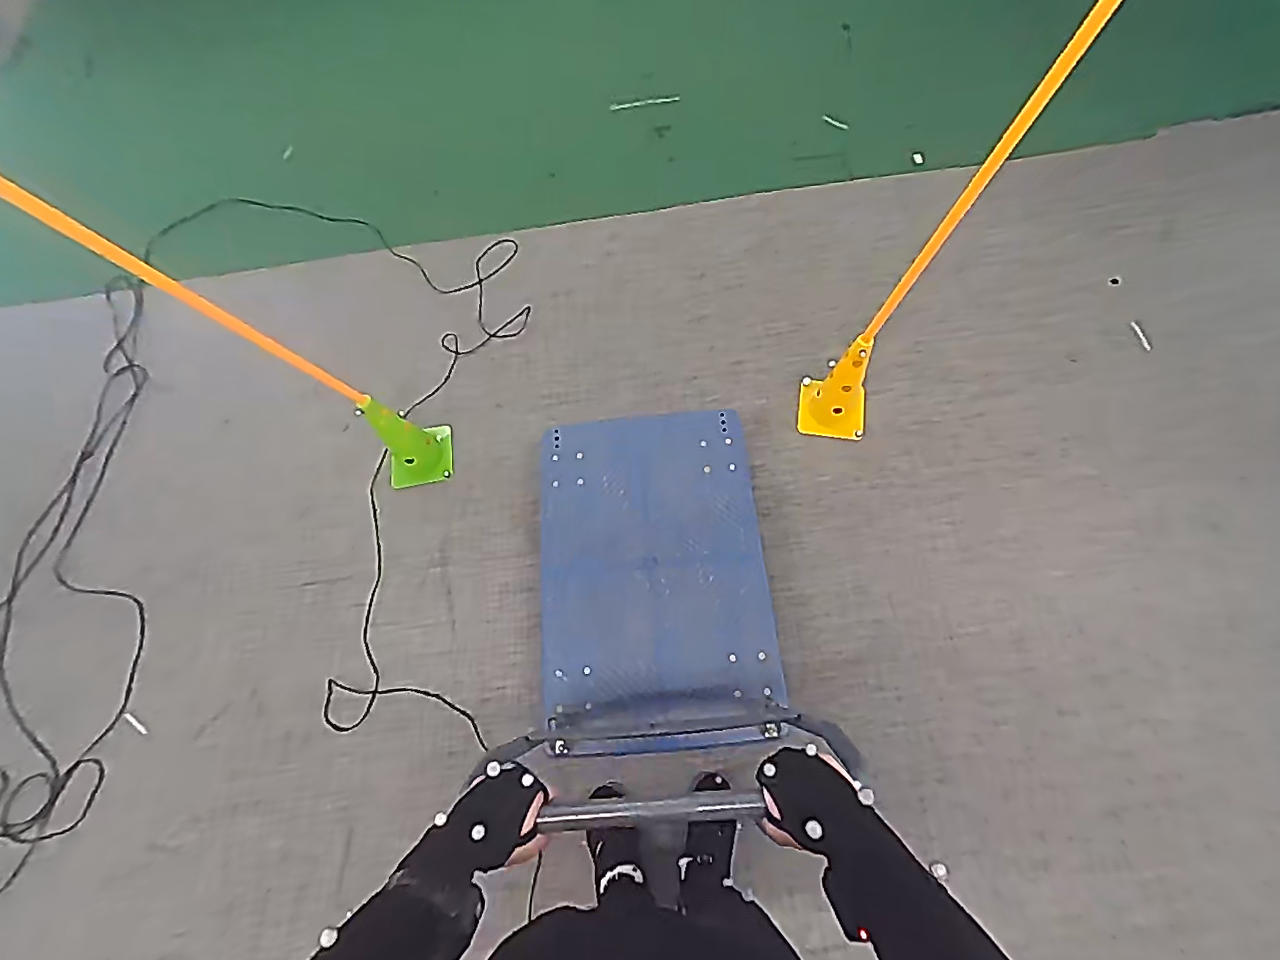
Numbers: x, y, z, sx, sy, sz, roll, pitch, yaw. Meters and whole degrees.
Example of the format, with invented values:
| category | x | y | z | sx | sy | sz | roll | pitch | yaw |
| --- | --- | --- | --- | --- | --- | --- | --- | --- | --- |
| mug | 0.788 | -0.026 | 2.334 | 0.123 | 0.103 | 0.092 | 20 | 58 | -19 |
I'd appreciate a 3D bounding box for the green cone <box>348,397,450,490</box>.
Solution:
| category | x | y | z | sx | sy | sz | roll | pitch | yaw |
| --- | --- | --- | --- | --- | --- | --- | --- | --- | --- |
| green cone | -0.733 | -0.140 | 1.598 | 0.202 | 0.368 | 0.200 | -12 | 66 | 1 |
